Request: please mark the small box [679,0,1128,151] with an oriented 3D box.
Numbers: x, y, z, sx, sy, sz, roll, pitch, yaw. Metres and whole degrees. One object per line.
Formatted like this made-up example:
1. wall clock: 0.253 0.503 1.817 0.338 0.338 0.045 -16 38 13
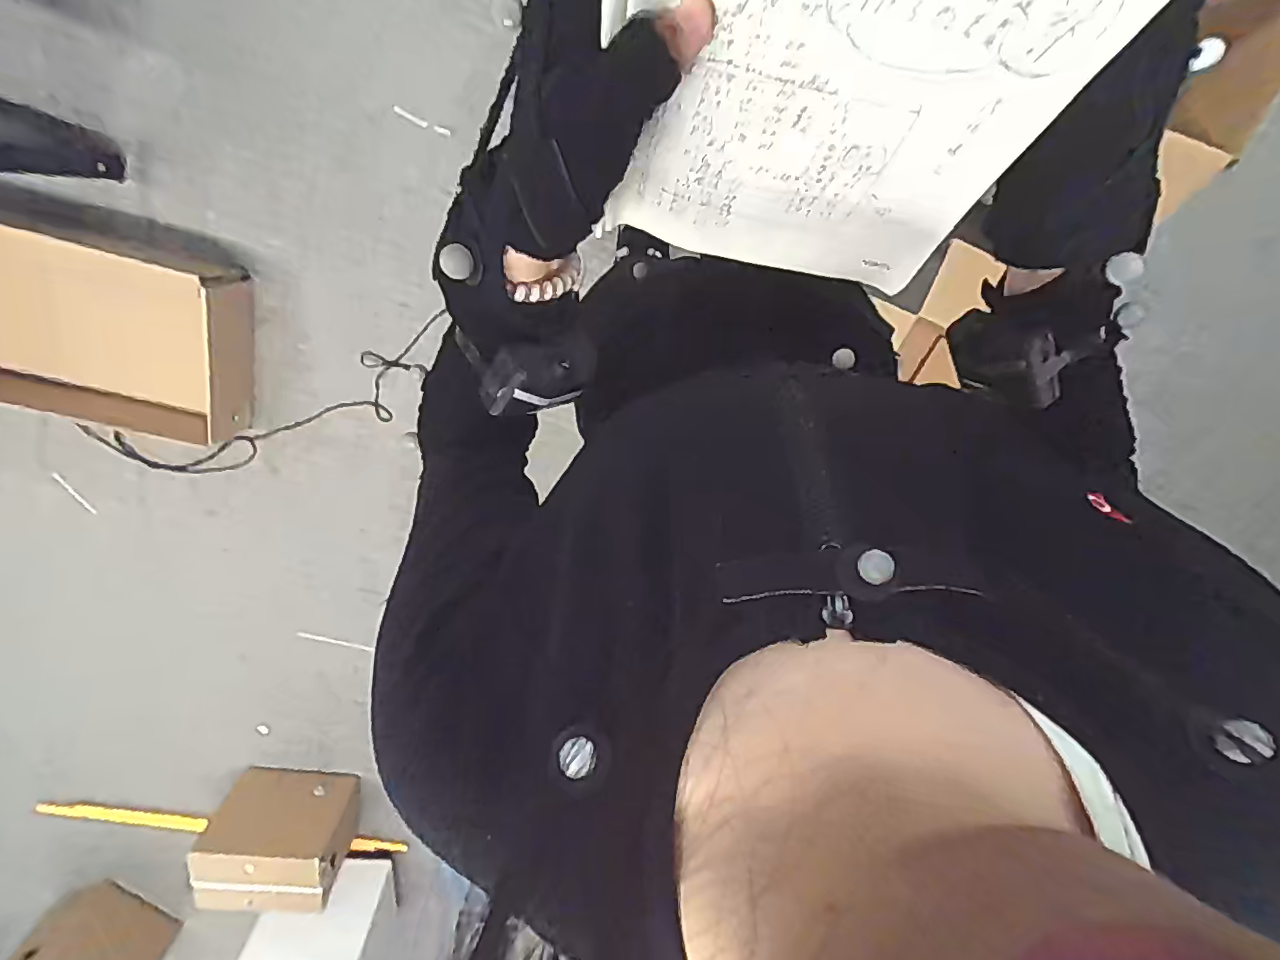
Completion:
1. small box: 0.108 -0.277 0.233 0.179 0.176 0.168 -5 152 1
